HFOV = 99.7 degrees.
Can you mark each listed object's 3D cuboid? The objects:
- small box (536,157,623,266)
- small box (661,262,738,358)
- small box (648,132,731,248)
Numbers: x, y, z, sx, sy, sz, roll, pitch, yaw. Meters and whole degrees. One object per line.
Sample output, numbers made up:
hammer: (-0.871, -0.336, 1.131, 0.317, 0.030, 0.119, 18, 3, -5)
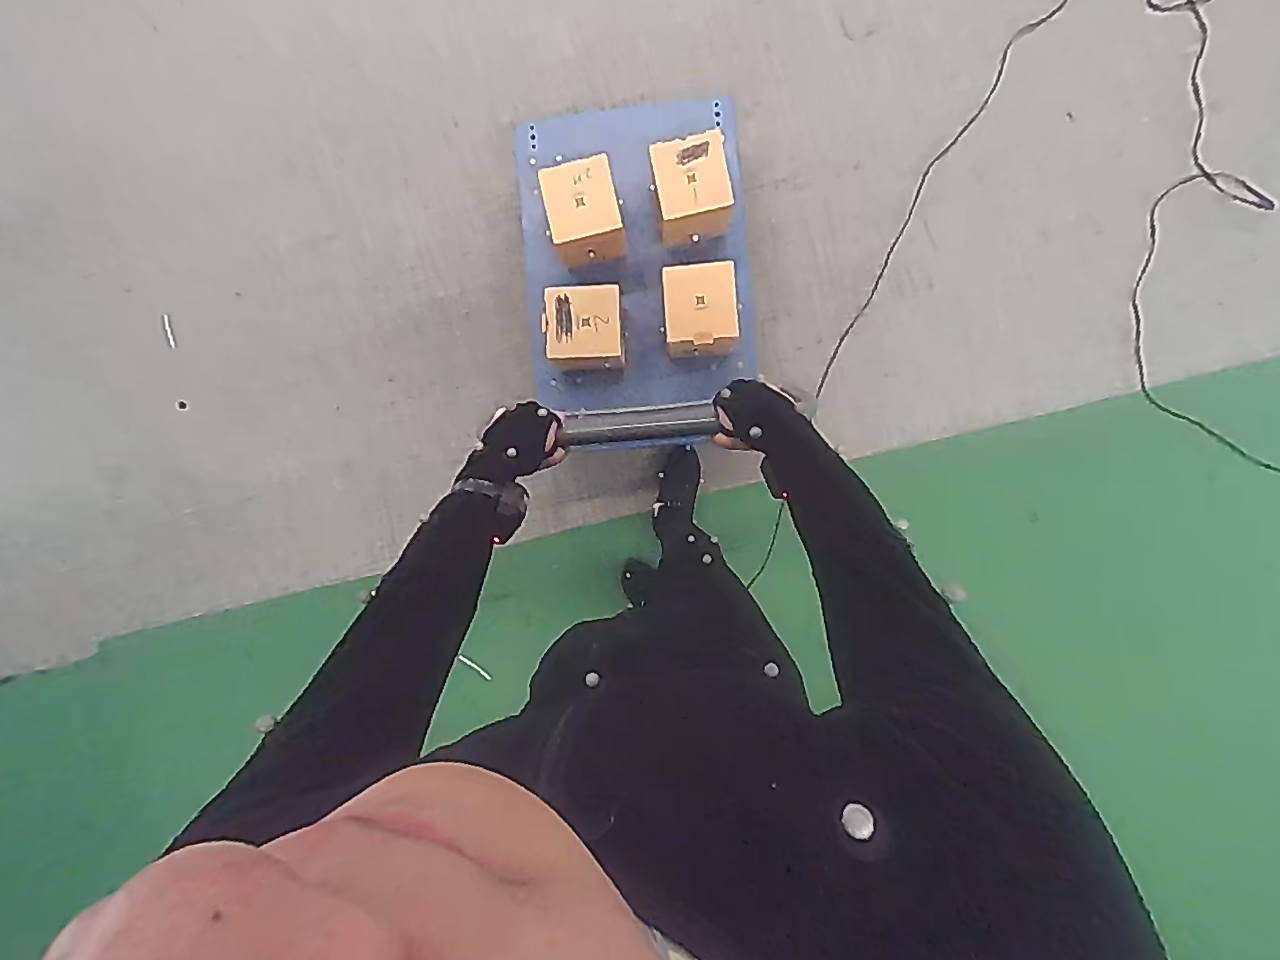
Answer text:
small box: (-0.139, -0.640, 1.318, 0.168, 0.176, 0.179, -13, 91, 2)
small box: (0.139, -0.406, 1.315, 0.168, 0.176, 0.179, -5, 92, 3)
small box: (0.115, -0.691, 1.305, 0.168, 0.176, 0.179, -12, 93, 3)
